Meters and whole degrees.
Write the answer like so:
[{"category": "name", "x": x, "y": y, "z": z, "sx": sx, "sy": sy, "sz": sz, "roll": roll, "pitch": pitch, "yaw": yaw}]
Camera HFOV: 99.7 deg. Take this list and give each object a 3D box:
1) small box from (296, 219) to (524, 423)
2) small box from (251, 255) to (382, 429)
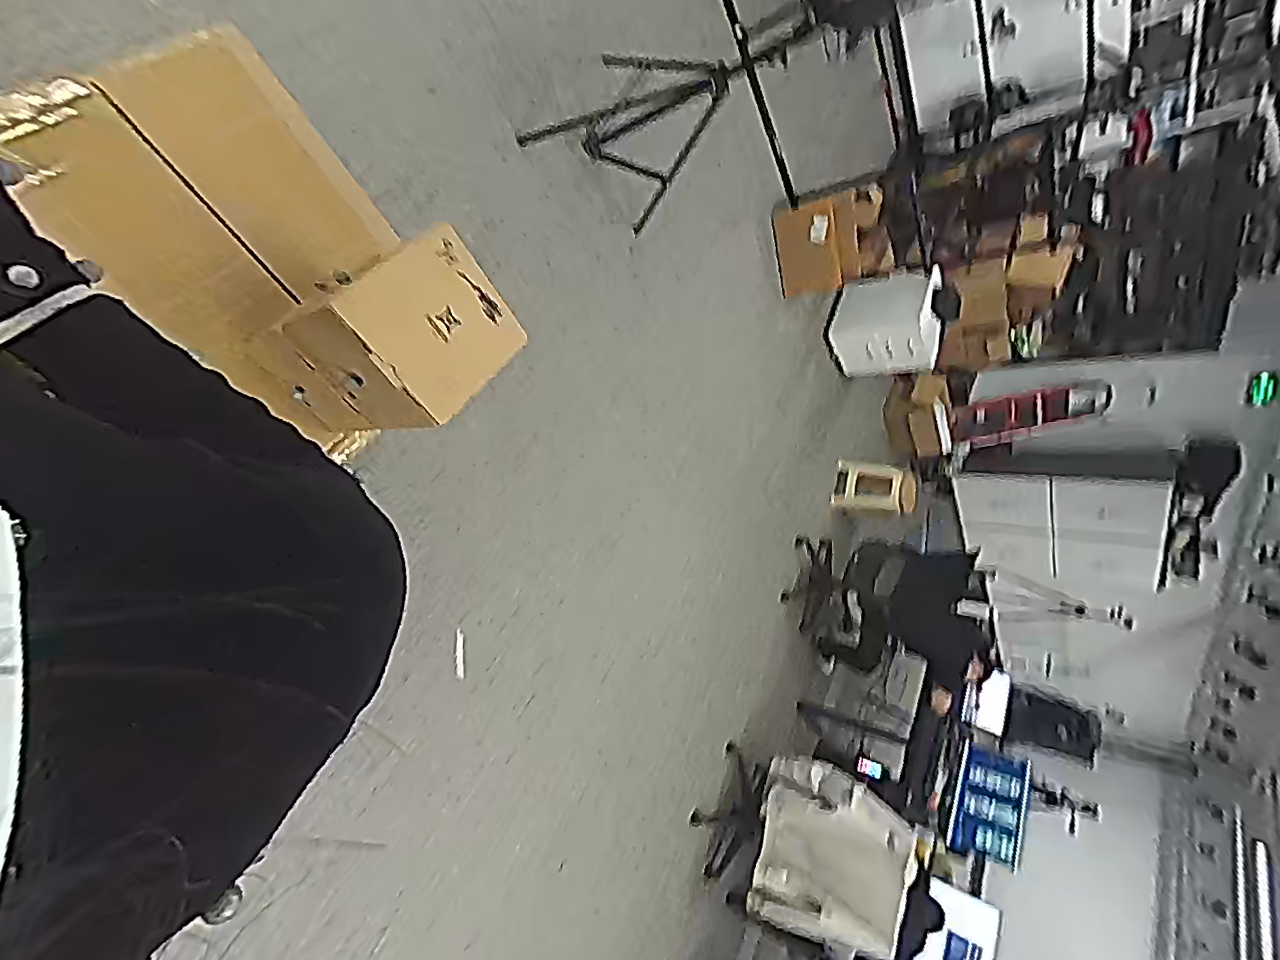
[{"category": "small box", "x": -0.287, "y": -0.184, "z": 0.670, "sx": 0.179, "sy": 0.176, "sz": 0.168, "roll": -54, "pitch": 128, "yaw": -29}, {"category": "small box", "x": -0.411, "y": -0.190, "z": 0.777, "sx": 0.179, "sy": 0.176, "sz": 0.168, "roll": -56, "pitch": 129, "yaw": -29}]
